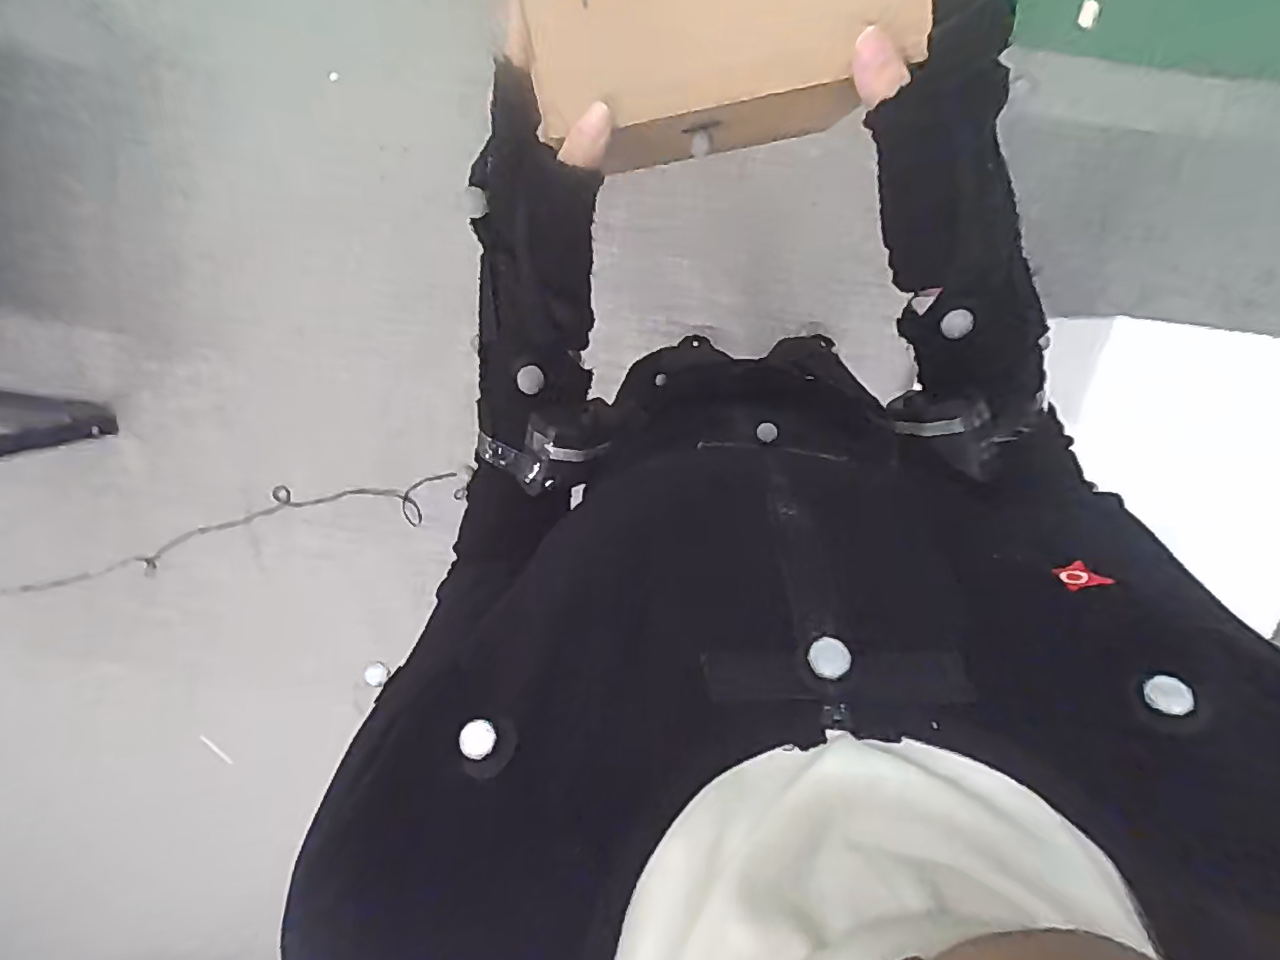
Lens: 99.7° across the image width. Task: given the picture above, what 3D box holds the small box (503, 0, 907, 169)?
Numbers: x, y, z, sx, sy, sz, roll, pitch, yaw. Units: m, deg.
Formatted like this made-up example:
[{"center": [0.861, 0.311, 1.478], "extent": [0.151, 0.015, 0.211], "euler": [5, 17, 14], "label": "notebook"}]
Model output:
[{"center": [0.022, -0.285, 0.292], "extent": [0.179, 0.176, 0.168], "euler": [-9, 113, 6], "label": "small box"}]
